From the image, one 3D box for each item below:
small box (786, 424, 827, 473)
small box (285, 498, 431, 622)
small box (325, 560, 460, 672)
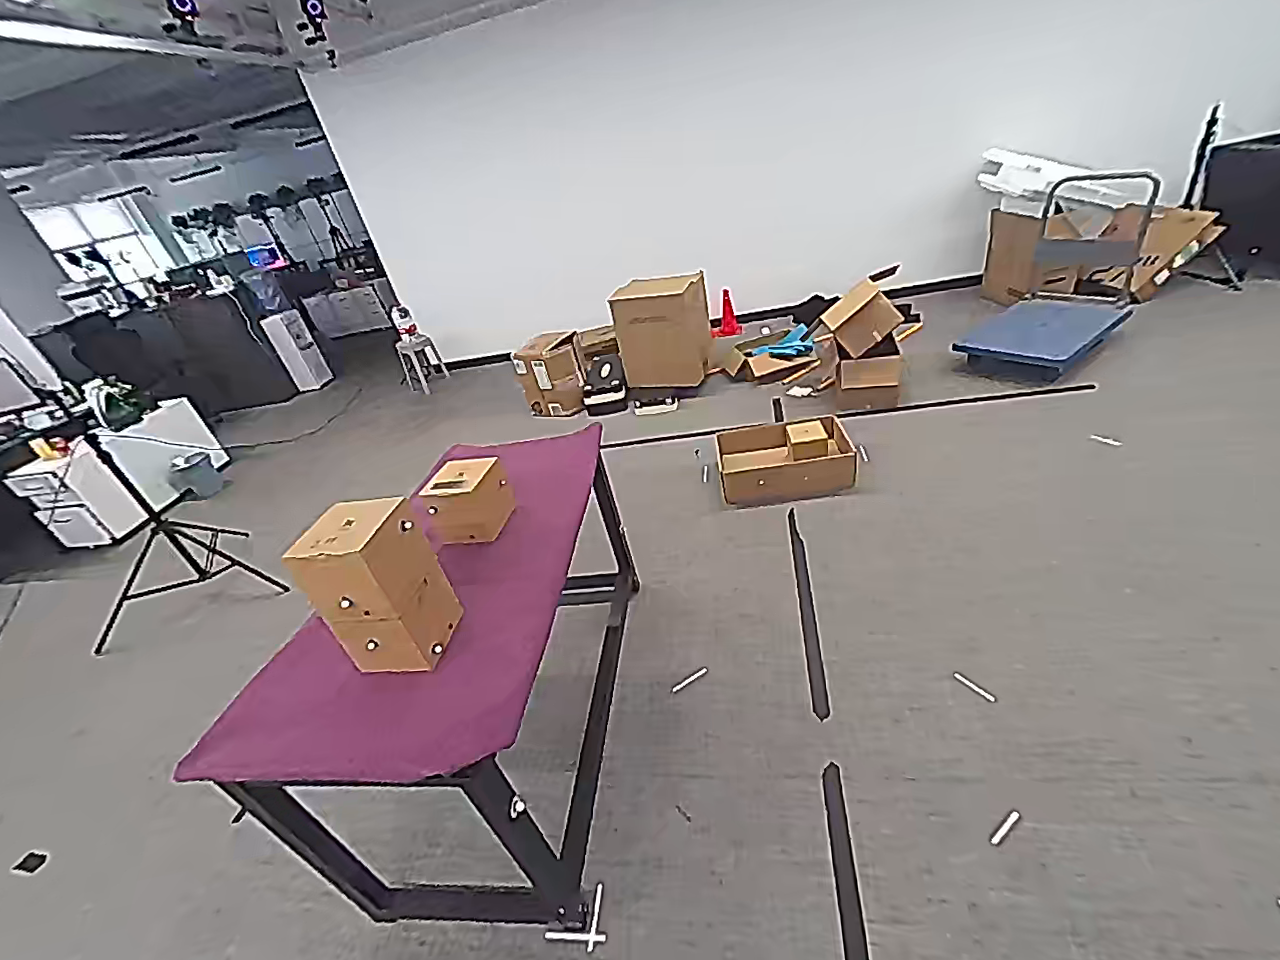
[{"bbox_3d":[0.814,-0.153,2.653,0.168,0.176,0.179,-9,32,9],"label":"small box"},{"bbox_3d":[-0.542,0.158,1.072,0.168,0.176,0.179,-6,32,12],"label":"small box"},{"bbox_3d":[-0.518,0.294,1.162,0.179,0.176,0.168,-6,32,12],"label":"small box"}]
